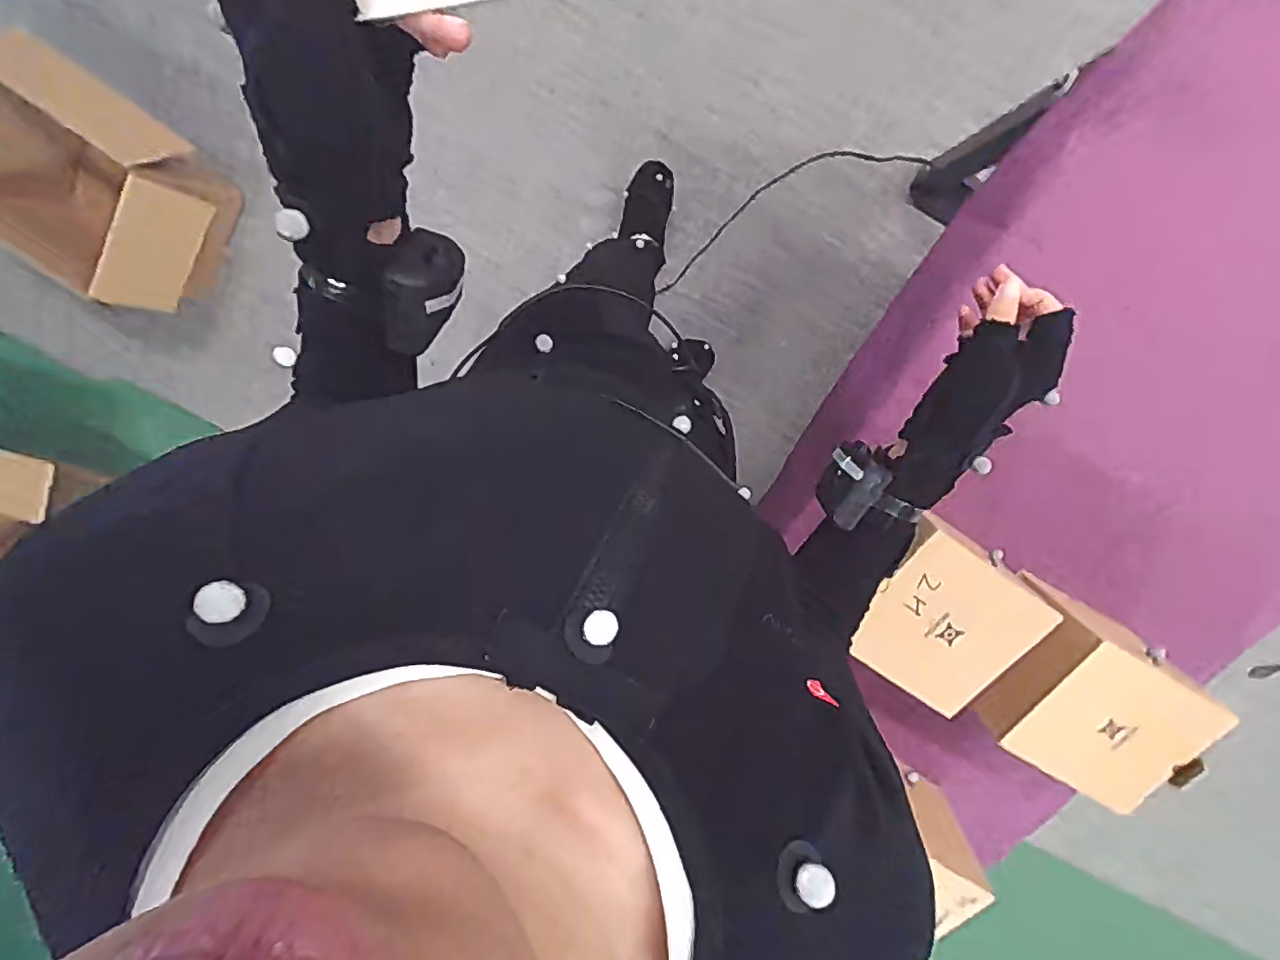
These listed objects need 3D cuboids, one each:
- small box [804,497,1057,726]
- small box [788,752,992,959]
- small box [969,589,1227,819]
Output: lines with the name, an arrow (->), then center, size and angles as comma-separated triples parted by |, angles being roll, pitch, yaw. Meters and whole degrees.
small box -> 0.328, 0.145, 0.653 | 0.179, 0.176, 0.168 | 35, 107, -6
small box -> 0.335, 0.528, 0.770 | 0.179, 0.176, 0.168 | 36, 107, -5
small box -> 0.524, 0.262, 0.673 | 0.179, 0.176, 0.168 | 29, 107, -4
